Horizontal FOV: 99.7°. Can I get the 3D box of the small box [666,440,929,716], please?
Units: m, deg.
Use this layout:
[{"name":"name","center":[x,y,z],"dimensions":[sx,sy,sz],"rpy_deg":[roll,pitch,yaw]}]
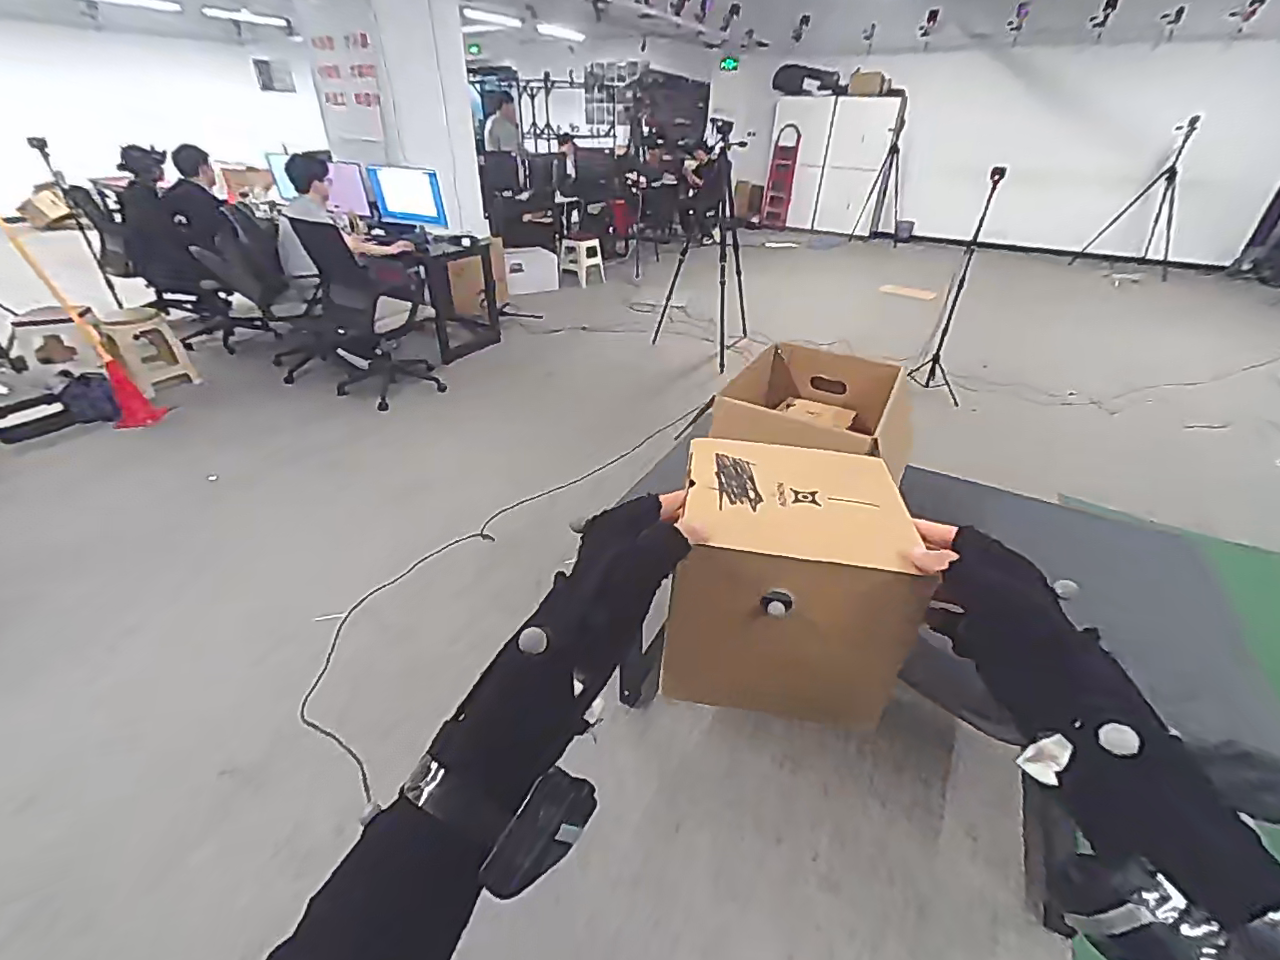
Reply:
[{"name":"small box","center":[0.120,0.082,0.481],"dimensions":[0.179,0.176,0.168],"rpy_deg":[8,32,6]}]
